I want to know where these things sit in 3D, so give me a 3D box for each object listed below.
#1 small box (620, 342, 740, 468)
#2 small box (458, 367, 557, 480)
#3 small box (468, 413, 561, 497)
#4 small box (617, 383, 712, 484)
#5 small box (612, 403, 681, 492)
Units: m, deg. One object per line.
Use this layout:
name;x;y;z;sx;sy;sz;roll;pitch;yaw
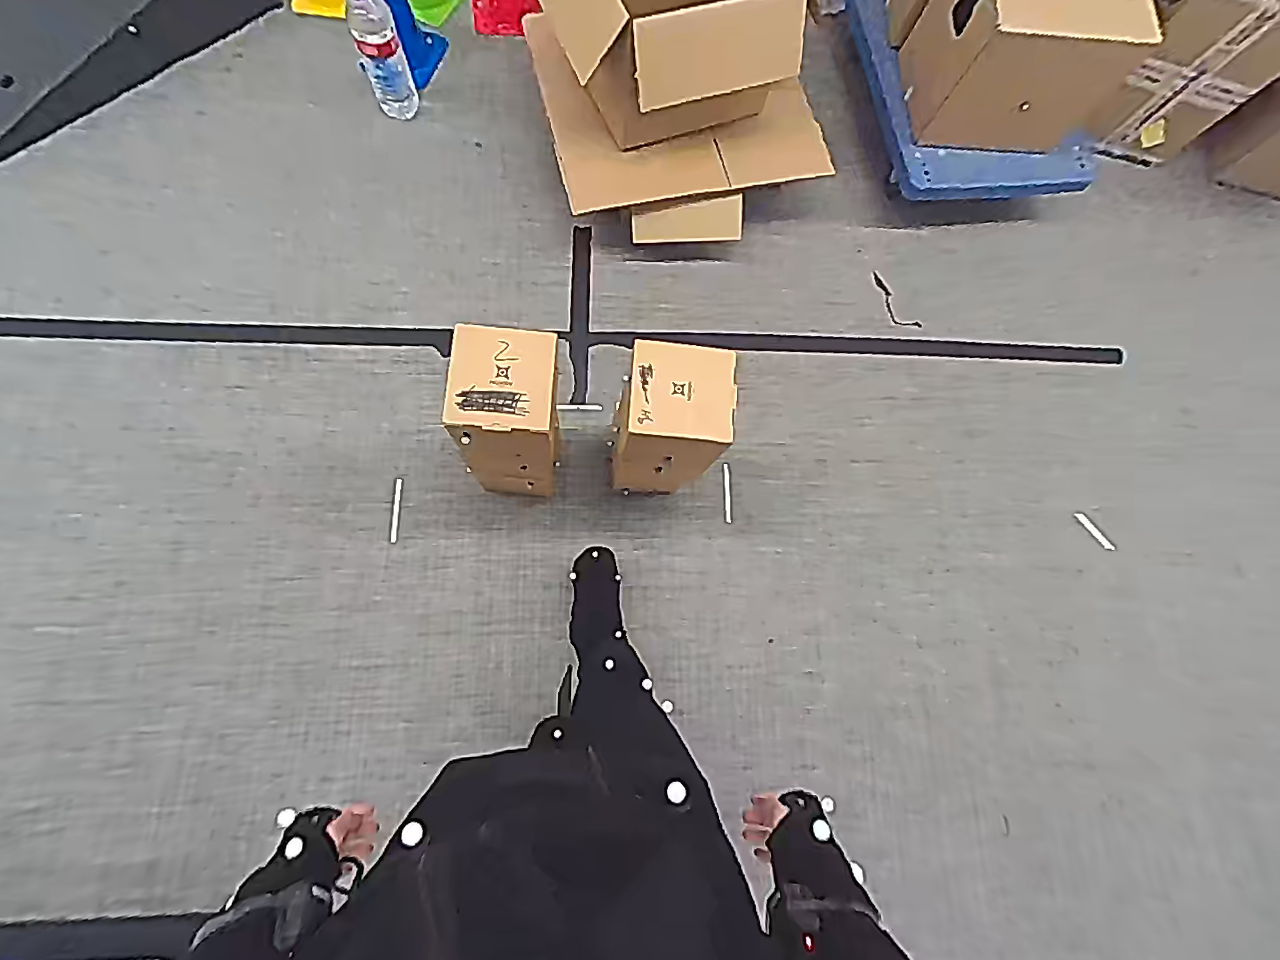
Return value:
small box;0.065;-0.123;0.960;0.179;0.176;0.168;6;77;-7
small box;-0.257;-0.105;1.091;0.168;0.176;0.179;5;75;-7
small box;-0.280;-0.061;1.246;0.179;0.176;0.168;6;76;-5
small box;0.046;-0.089;1.120;0.179;0.176;0.168;3;77;-7
small box;0.021;-0.069;1.282;0.168;0.176;0.179;0;76;-7
